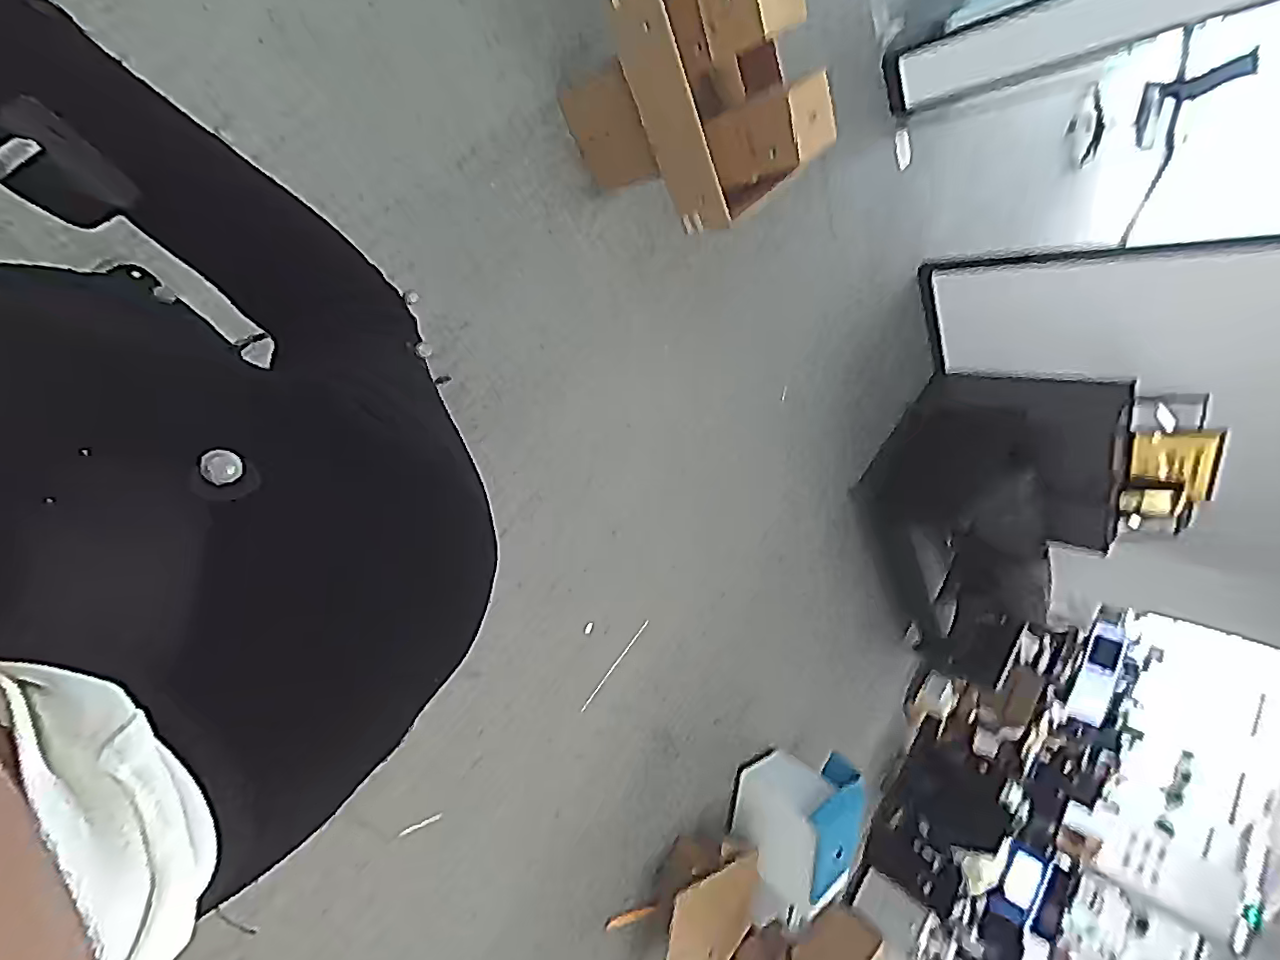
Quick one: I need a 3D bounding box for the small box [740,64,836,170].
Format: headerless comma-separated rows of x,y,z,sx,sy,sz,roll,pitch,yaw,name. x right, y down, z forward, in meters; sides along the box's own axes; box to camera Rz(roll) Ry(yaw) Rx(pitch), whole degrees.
0.382,-0.944,1.420,0.179,0.176,0.168,-45,128,-23,small box

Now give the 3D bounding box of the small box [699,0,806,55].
0.253,-1.129,1.255,0.179,0.176,0.168,-43,126,-25,small box
